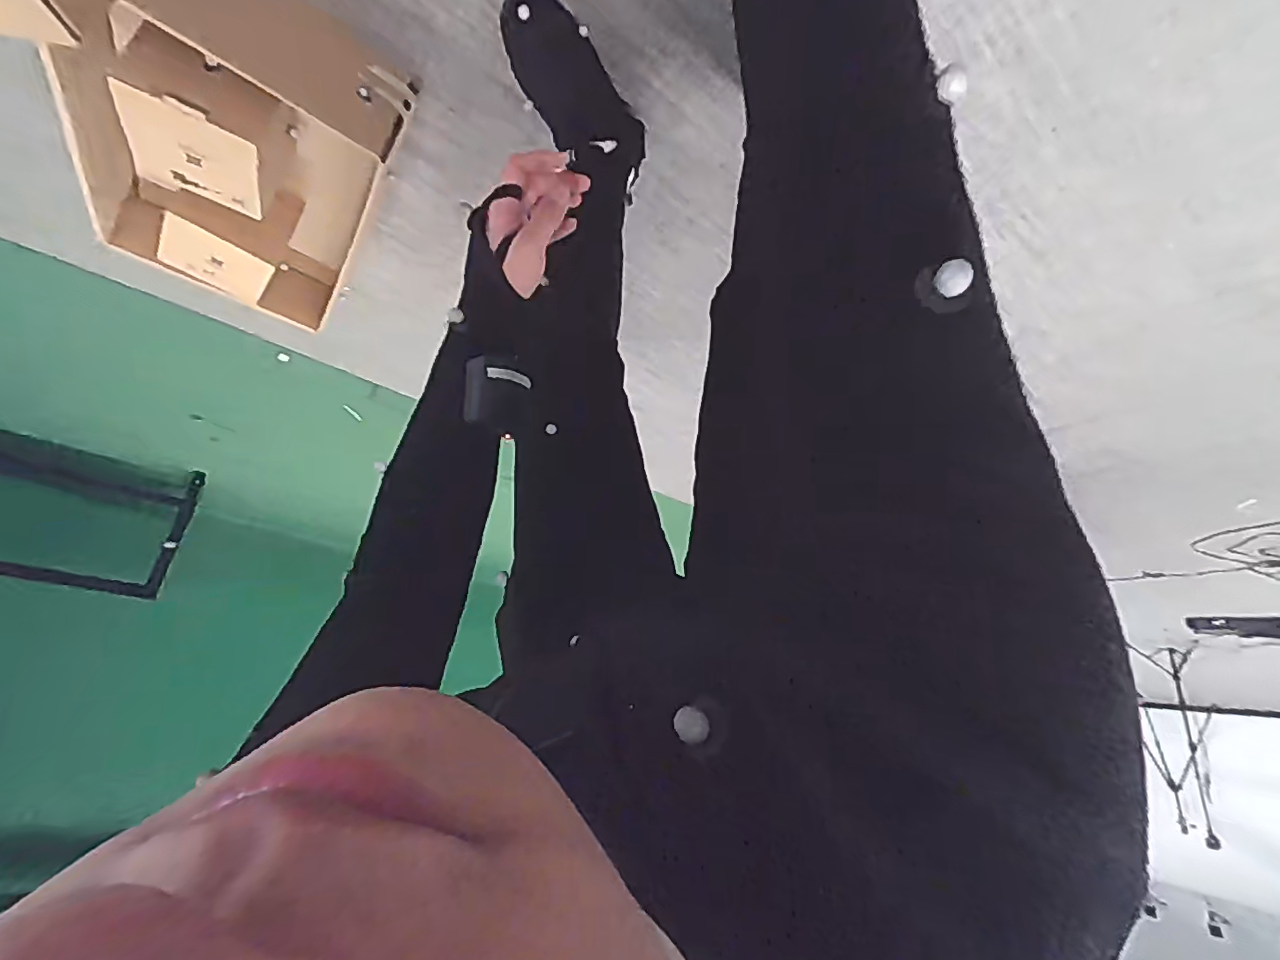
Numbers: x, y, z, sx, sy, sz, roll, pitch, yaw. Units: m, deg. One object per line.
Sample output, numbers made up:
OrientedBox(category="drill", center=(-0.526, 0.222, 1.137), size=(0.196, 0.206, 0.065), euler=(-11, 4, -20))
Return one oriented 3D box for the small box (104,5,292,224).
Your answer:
OrientedBox(category="small box", center=(-0.643, -0.539, 0.811), size=(0.168, 0.176, 0.179), euler=(19, 156, -28))
